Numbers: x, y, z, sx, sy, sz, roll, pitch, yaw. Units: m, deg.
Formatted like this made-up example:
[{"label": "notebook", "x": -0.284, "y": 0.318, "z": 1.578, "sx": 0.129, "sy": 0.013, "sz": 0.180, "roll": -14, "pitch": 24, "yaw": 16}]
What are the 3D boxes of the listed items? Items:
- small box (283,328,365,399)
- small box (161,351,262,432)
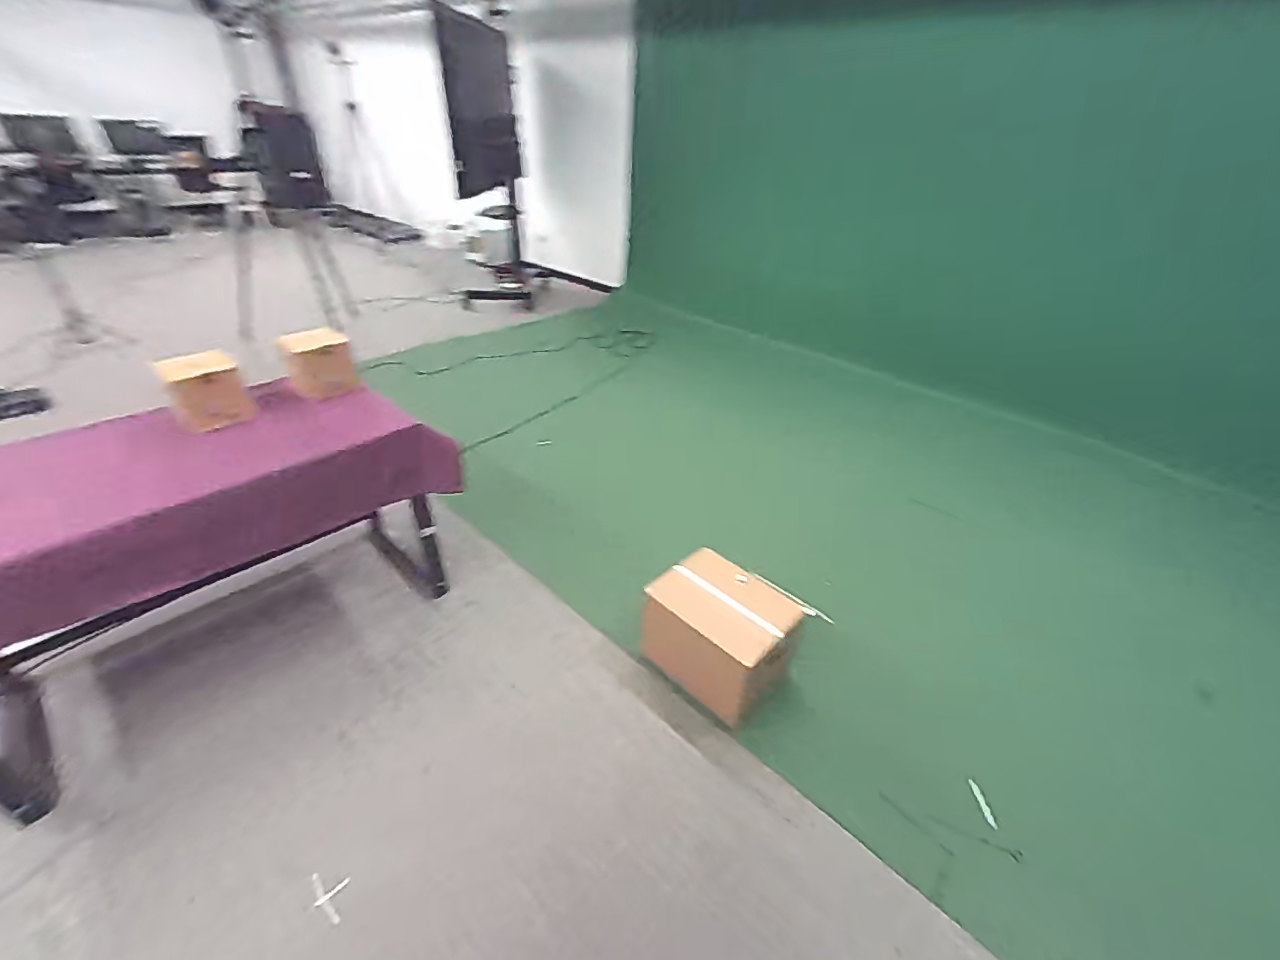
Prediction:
[{"label": "small box", "x": -1.047, "y": -0.388, "z": 1.797, "sx": 0.179, "sy": 0.176, "sz": 0.168, "roll": 30, "pitch": 44, "yaw": 34}, {"label": "small box", "x": -1.267, "y": -0.262, "z": 1.605, "sx": 0.179, "sy": 0.176, "sz": 0.168, "roll": 29, "pitch": 42, "yaw": 32}]
